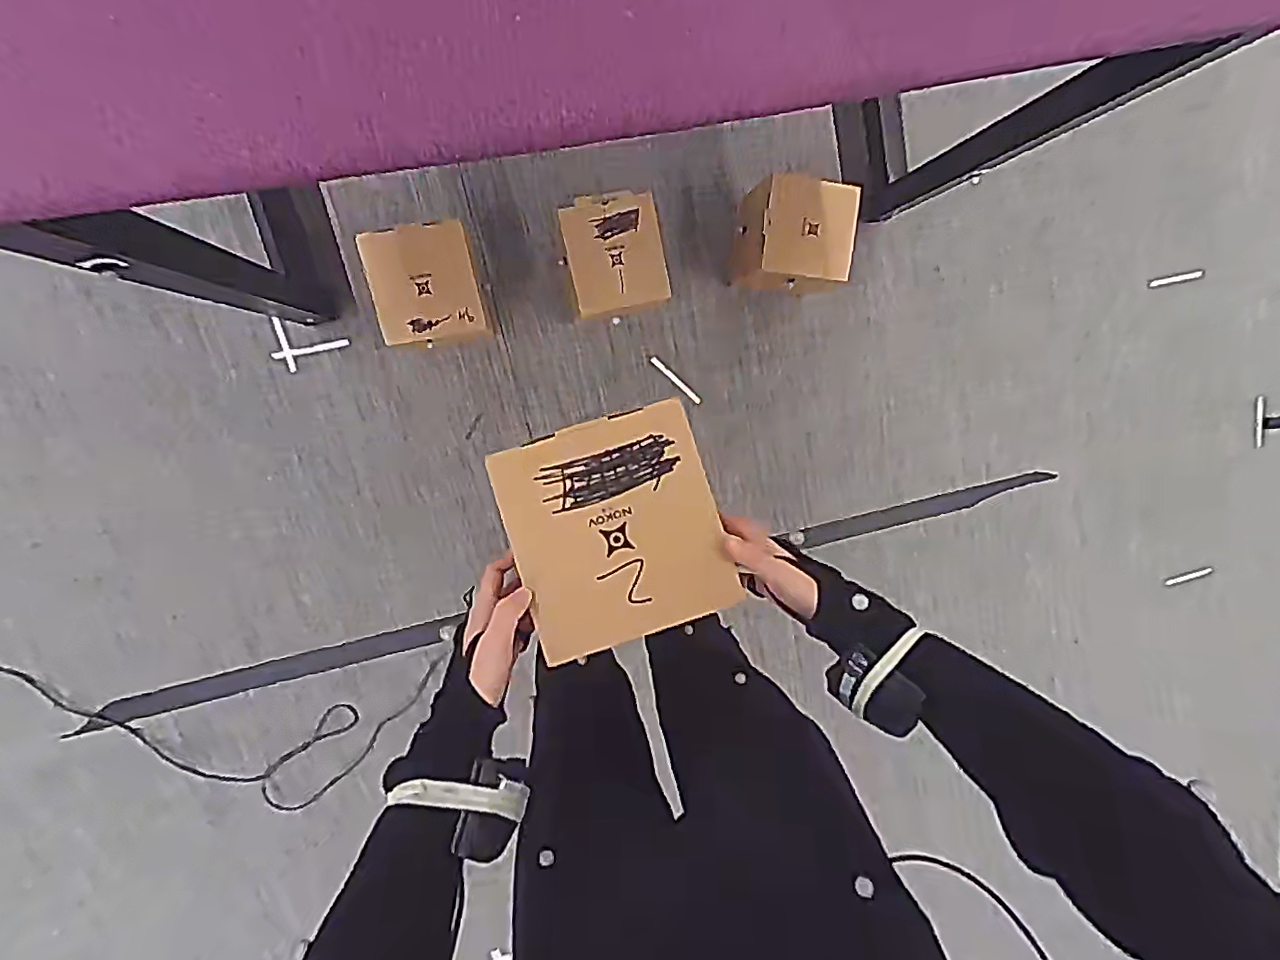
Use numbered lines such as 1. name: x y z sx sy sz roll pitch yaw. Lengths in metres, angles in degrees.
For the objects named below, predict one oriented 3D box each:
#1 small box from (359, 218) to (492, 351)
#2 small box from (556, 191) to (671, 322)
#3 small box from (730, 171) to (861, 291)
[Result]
1. small box: -0.363 -0.332 0.946 0.168 0.176 0.179 -12 100 -8
2. small box: -0.056 -0.399 0.990 0.168 0.176 0.179 -14 103 -7
3. small box: 0.290 -0.467 1.043 0.179 0.176 0.168 3 100 -10
